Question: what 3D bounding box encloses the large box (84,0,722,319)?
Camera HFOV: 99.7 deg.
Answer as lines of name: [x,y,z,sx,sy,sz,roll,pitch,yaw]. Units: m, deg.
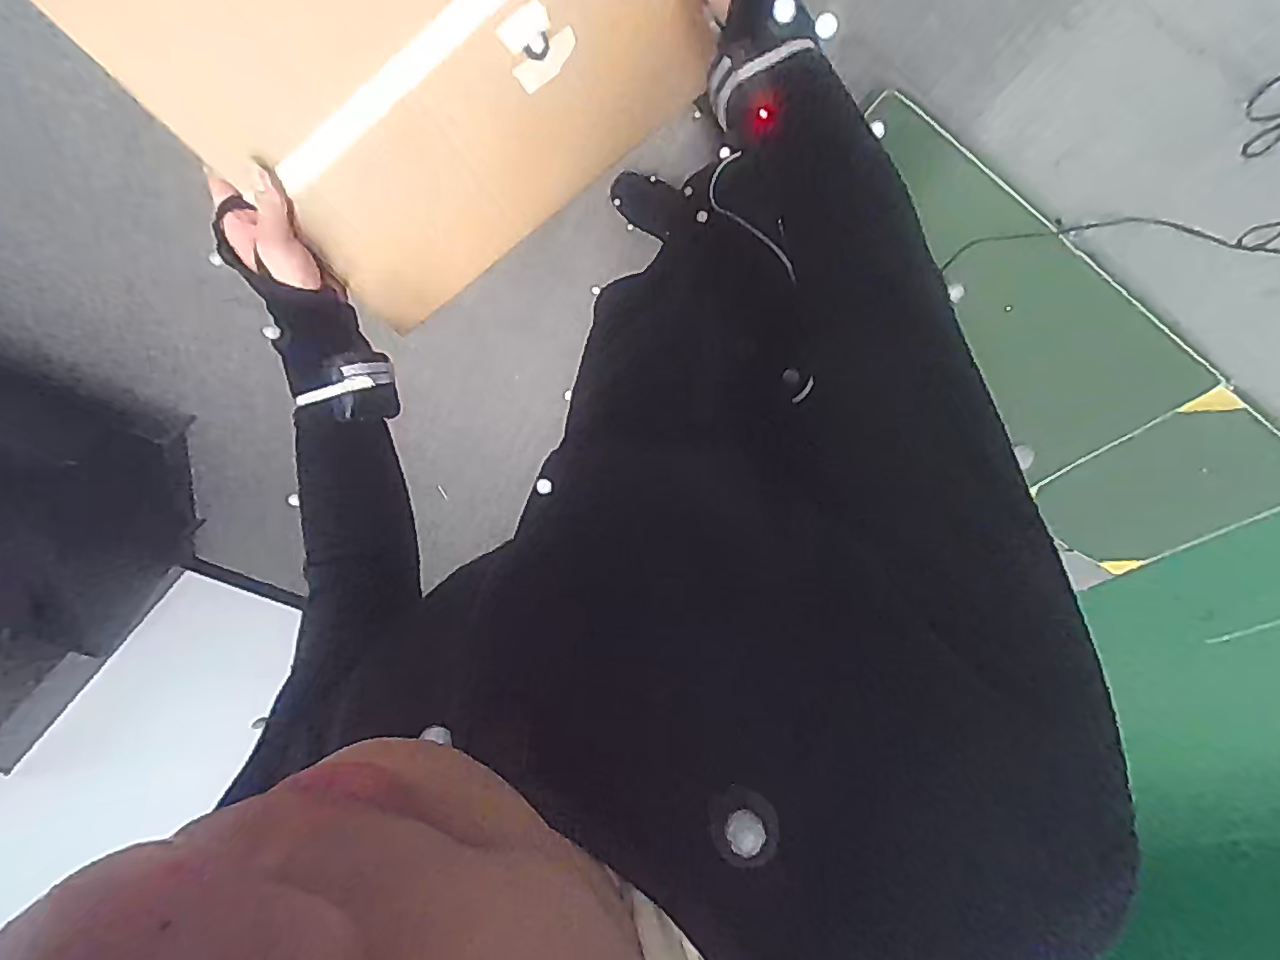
large box: [-0.199,-0.452,0.553,0.408,0.320,0.320,-35,132,7]
